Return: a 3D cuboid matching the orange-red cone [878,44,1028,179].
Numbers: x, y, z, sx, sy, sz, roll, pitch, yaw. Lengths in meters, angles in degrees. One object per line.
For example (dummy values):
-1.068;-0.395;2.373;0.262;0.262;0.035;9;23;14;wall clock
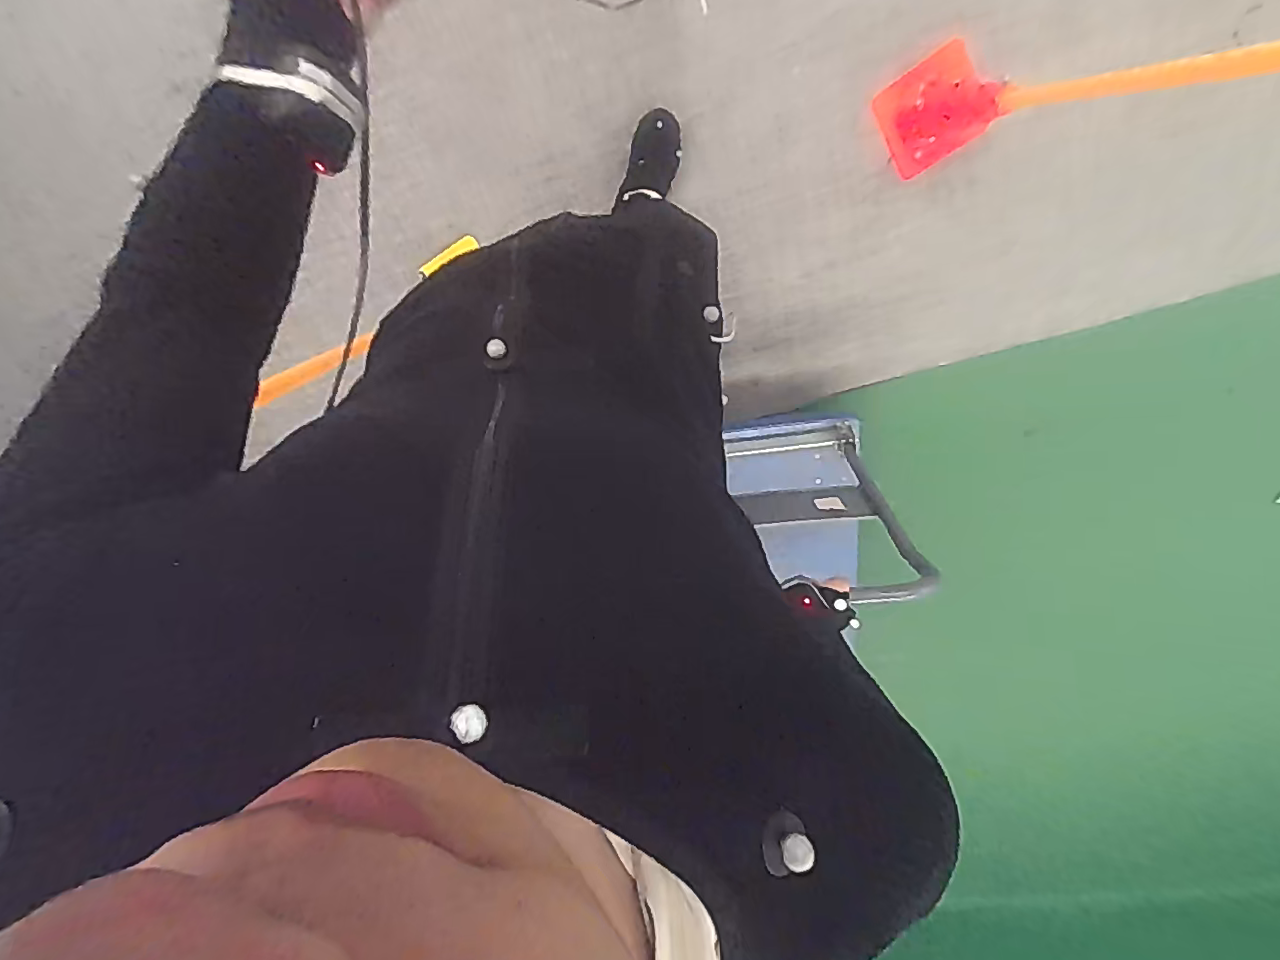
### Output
0.635;-0.716;1.044;0.199;0.360;0.198;-28;116;19;orange-red cone
